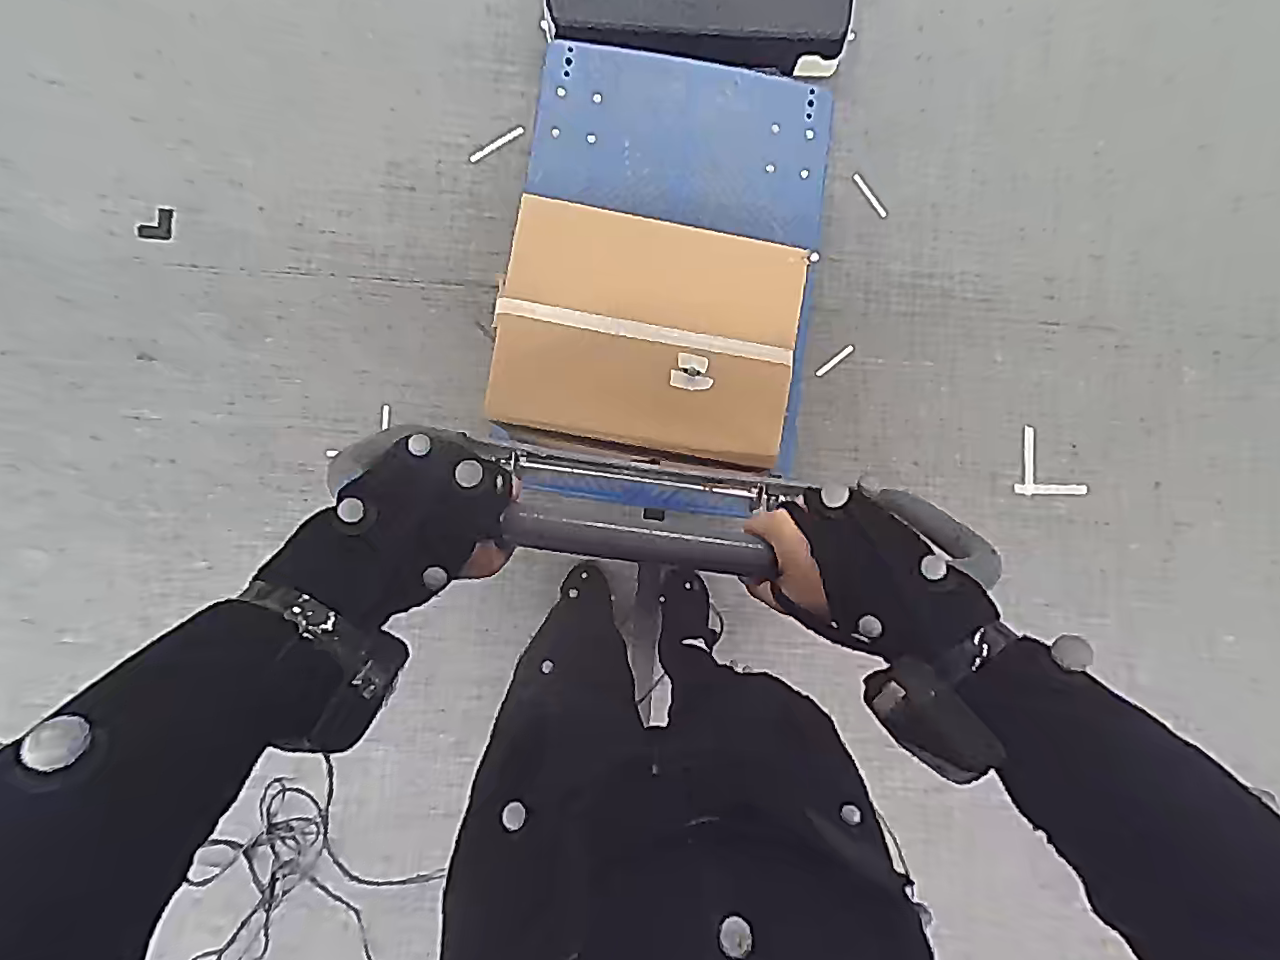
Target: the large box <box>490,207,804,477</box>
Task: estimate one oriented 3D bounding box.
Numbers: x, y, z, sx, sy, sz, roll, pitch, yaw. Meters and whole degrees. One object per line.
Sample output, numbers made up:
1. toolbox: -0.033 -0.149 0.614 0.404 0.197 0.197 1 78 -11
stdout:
1. large box: 0.003 -0.190 0.891 0.408 0.320 0.320 10 88 -4
